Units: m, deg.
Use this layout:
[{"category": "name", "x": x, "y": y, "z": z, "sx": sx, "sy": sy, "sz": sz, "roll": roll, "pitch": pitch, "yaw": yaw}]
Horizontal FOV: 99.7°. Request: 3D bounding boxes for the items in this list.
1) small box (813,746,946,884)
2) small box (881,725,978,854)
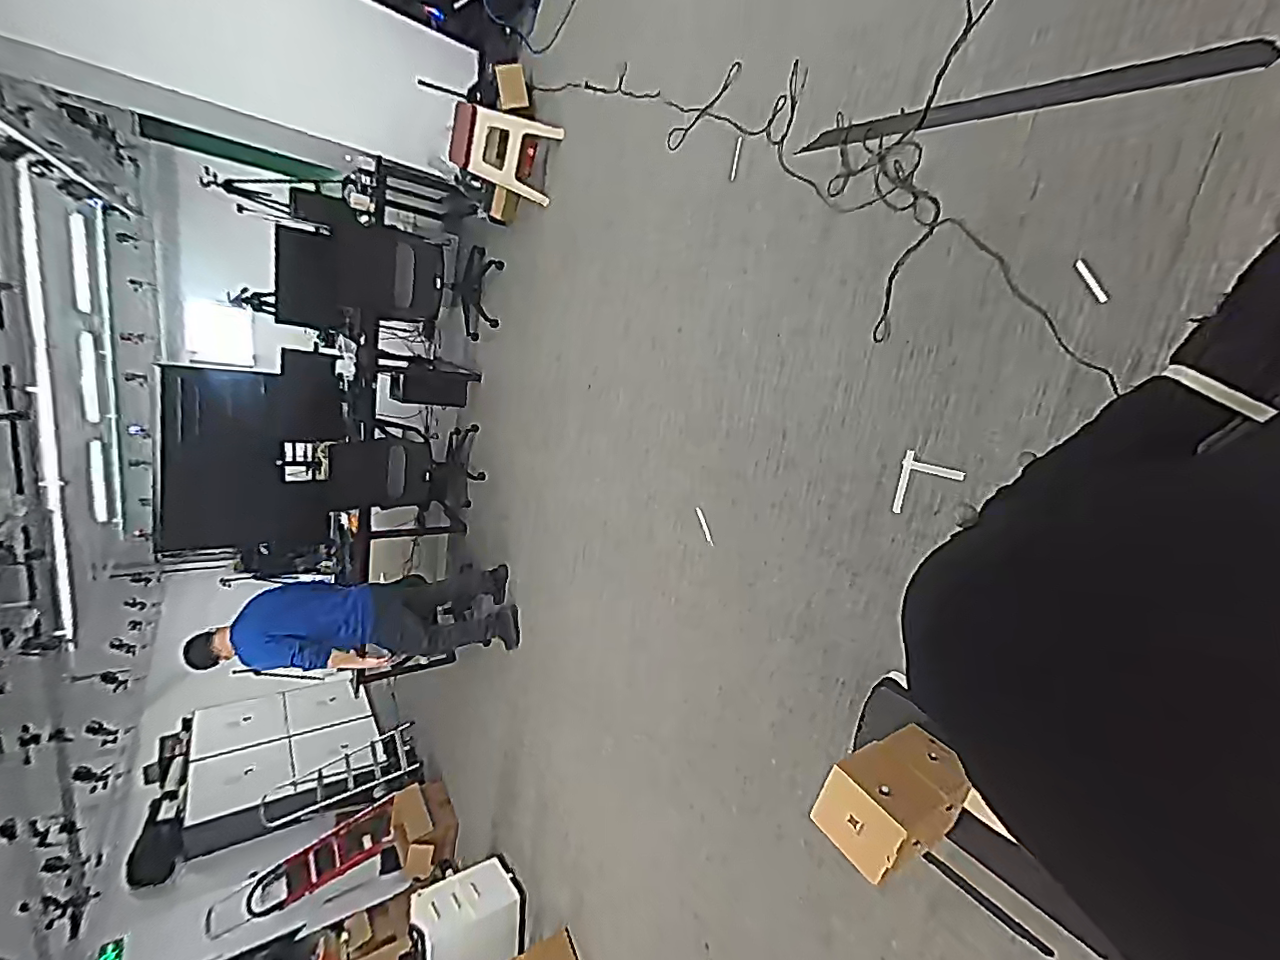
[{"category": "small box", "x": 0.518, "y": 0.711, "z": 1.175, "sx": 0.179, "sy": 0.176, "sz": 0.168, "roll": 35, "pitch": 118, "yaw": 46}, {"category": "small box", "x": 0.655, "y": 0.711, "z": 1.265, "sx": 0.168, "sy": 0.176, "sz": 0.179, "roll": 32, "pitch": 117, "yaw": 48}]
